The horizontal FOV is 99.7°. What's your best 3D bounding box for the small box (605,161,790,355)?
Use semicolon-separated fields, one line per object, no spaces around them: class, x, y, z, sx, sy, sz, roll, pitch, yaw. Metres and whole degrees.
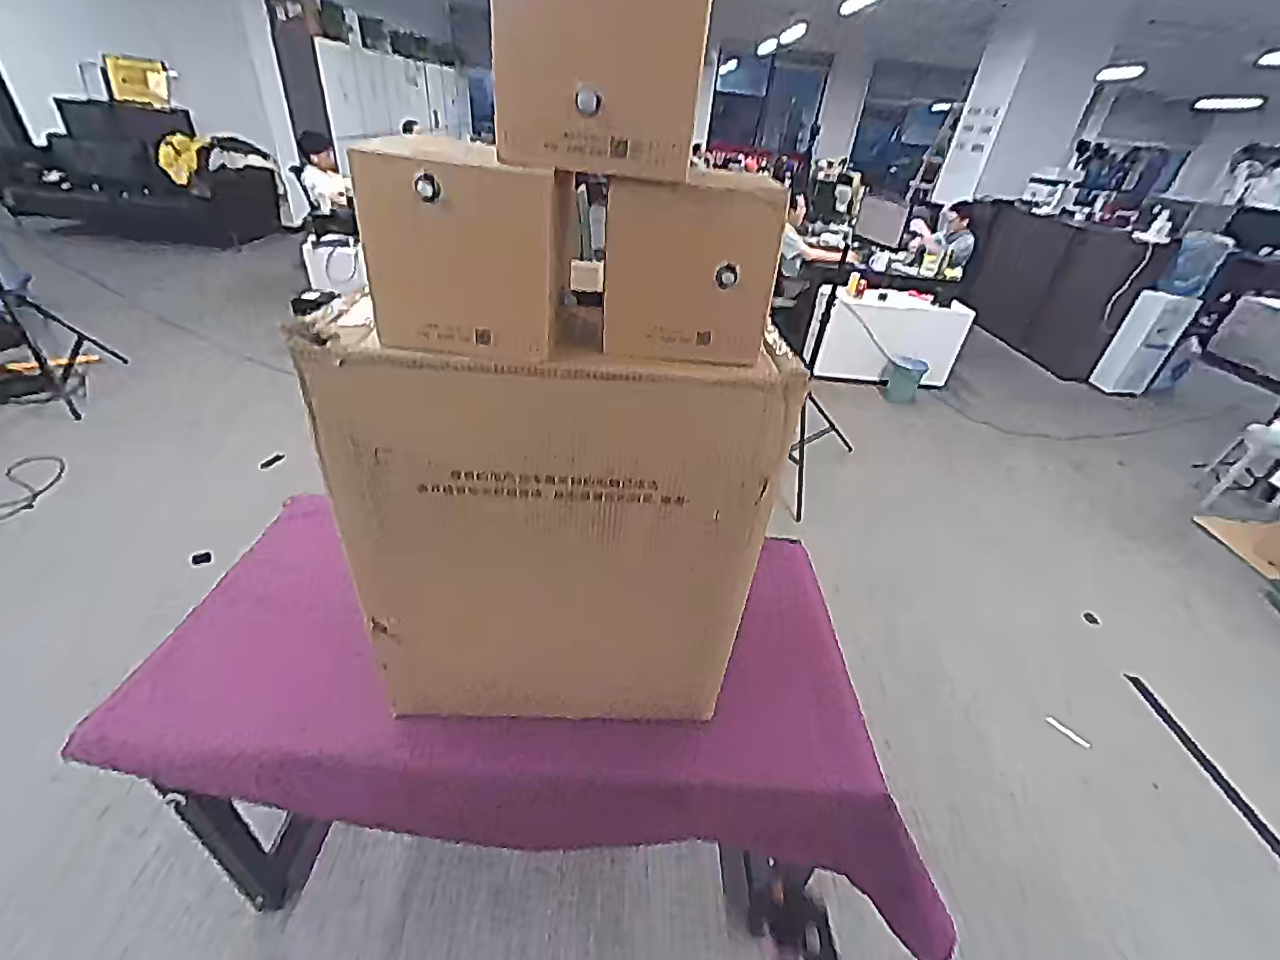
small box;0.052;-0.246;0.589;0.168;0.176;0.179;5;32;0

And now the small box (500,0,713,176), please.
small box;-0.028;-0.384;0.485;0.168;0.176;0.179;5;34;-2
